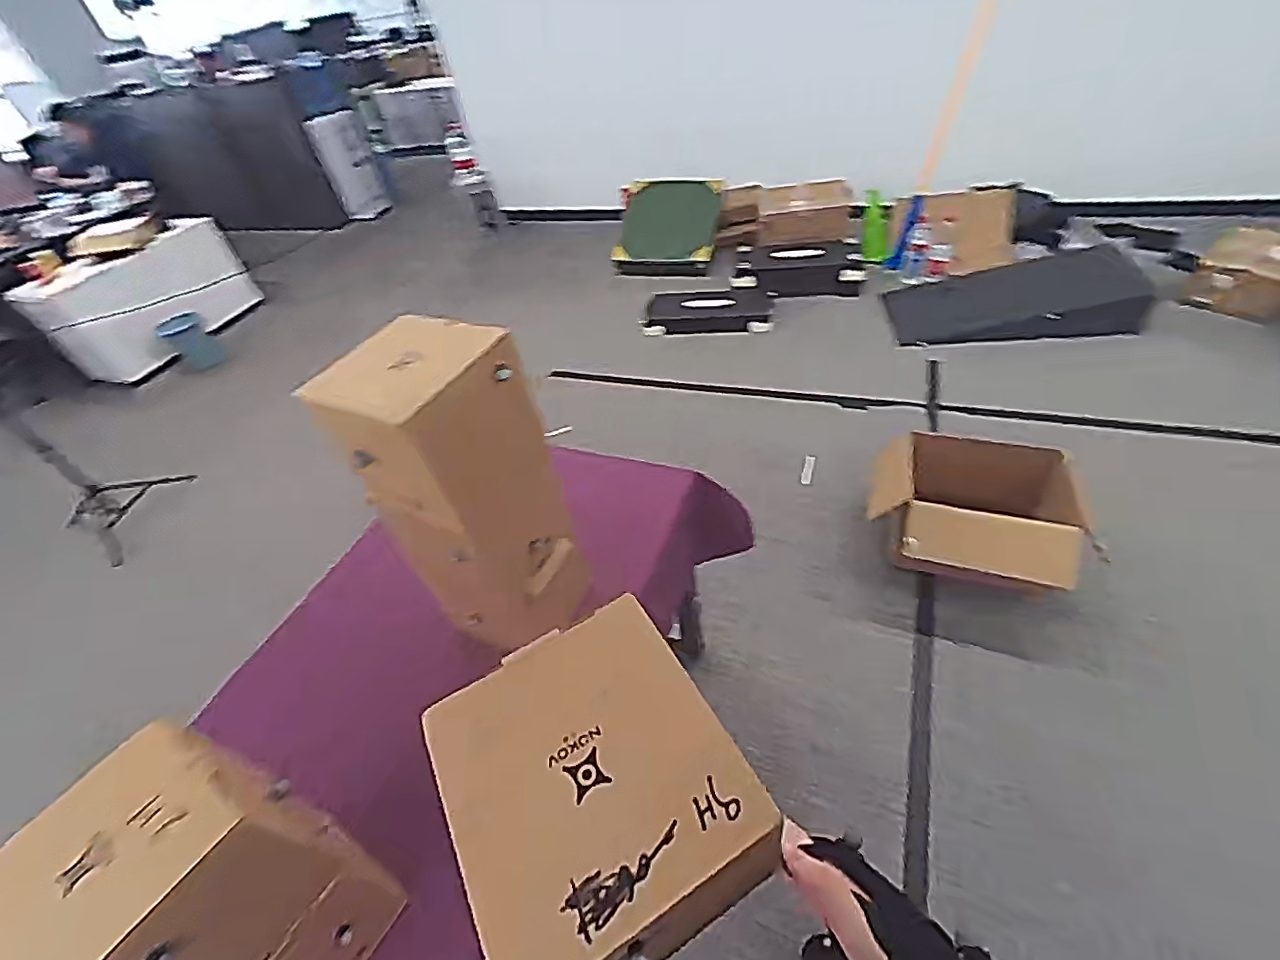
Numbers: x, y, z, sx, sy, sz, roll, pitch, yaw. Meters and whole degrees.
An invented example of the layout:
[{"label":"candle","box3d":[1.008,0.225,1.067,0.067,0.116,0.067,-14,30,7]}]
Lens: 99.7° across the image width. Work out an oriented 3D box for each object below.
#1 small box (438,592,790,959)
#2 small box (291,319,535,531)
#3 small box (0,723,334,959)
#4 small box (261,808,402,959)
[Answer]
[{"label":"small box","box3d":[-0.015,0.221,0.385,0.168,0.176,0.179,-28,47,-13]},{"label":"small box","box3d":[-0.249,-0.066,0.641,0.168,0.176,0.179,15,50,23]},{"label":"small box","box3d":[-0.426,0.366,0.485,0.168,0.176,0.179,21,52,27]},{"label":"small box","box3d":[-0.404,0.484,0.596,0.179,0.176,0.168,19,52,27]}]
